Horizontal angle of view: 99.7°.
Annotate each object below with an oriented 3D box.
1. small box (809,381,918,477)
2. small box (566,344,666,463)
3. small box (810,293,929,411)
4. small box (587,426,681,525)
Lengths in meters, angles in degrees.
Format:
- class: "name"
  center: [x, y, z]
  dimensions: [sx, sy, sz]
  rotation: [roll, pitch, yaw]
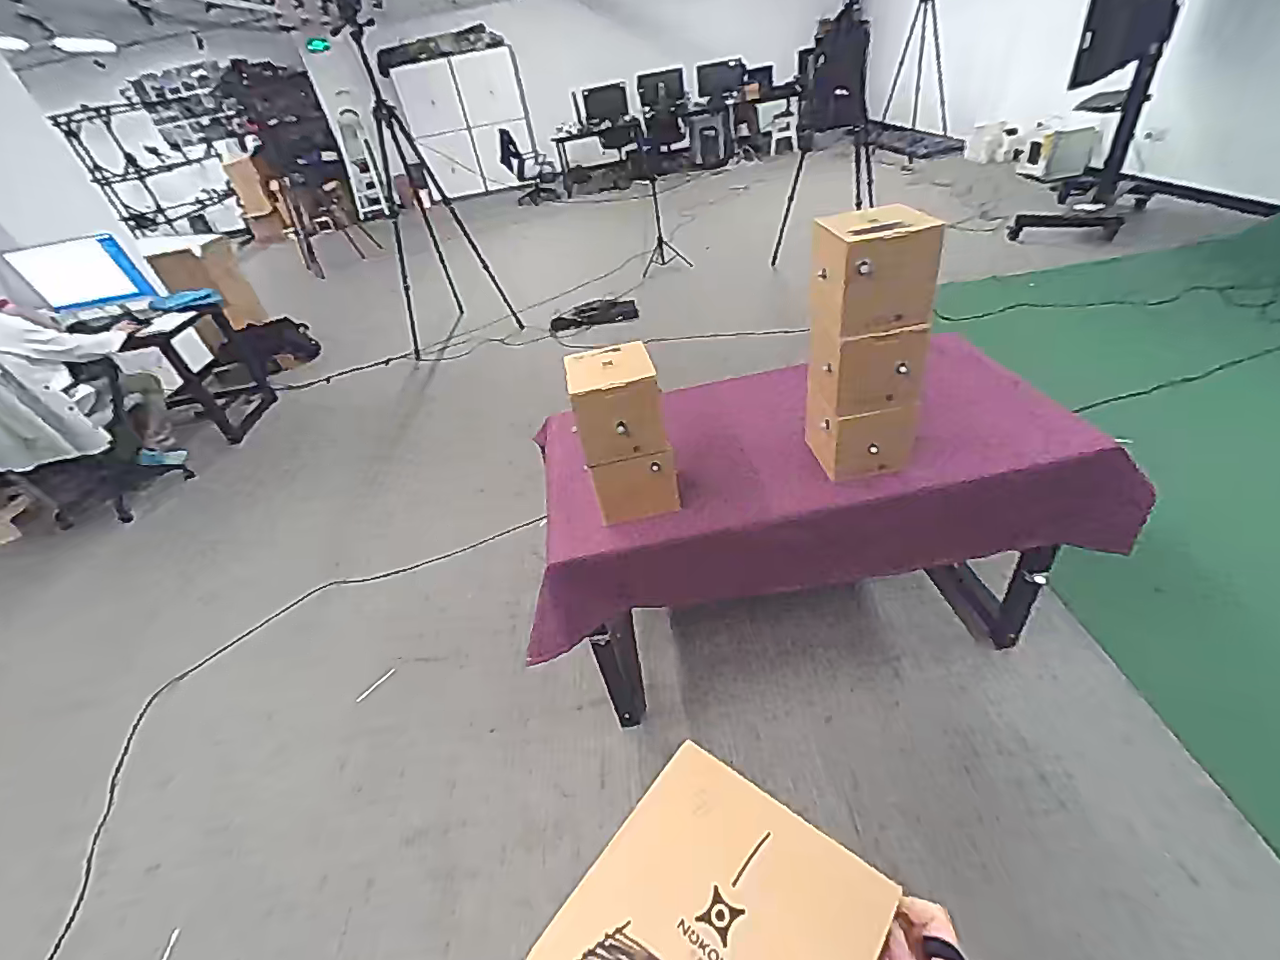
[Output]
- class: "small box"
  center: [0.477, -0.120, 1.179]
  dimensions: [0.168, 0.176, 0.179]
  rotation: [-11, 37, 2]
- class: "small box"
  center: [-0.049, -0.150, 1.096]
  dimensions: [0.168, 0.176, 0.179]
  rotation: [-12, 38, -2]
- class: "small box"
  center: [0.449, -0.250, 1.083]
  dimensions: [0.168, 0.176, 0.179]
  rotation: [-10, 37, 3]
- class: "small box"
  center: [-0.016, -0.021, 1.193]
  dimensions: [0.179, 0.176, 0.168]
  rotation: [-12, 37, -1]
